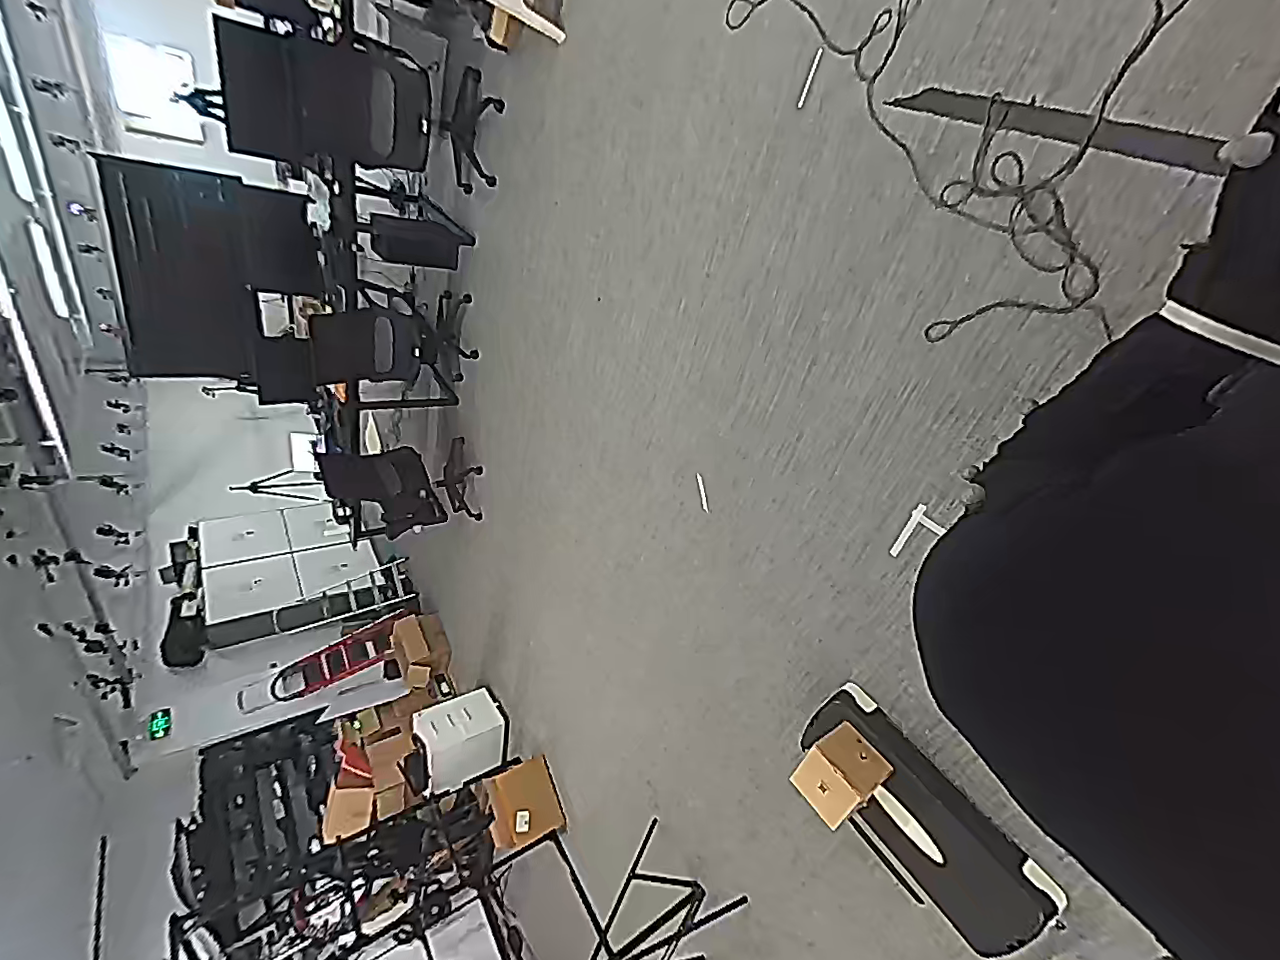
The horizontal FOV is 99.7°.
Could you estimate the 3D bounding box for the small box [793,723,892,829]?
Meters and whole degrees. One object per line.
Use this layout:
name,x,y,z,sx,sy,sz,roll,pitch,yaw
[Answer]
small box,0.572,0.827,1.524,0.168,0.176,0.179,44,130,38
